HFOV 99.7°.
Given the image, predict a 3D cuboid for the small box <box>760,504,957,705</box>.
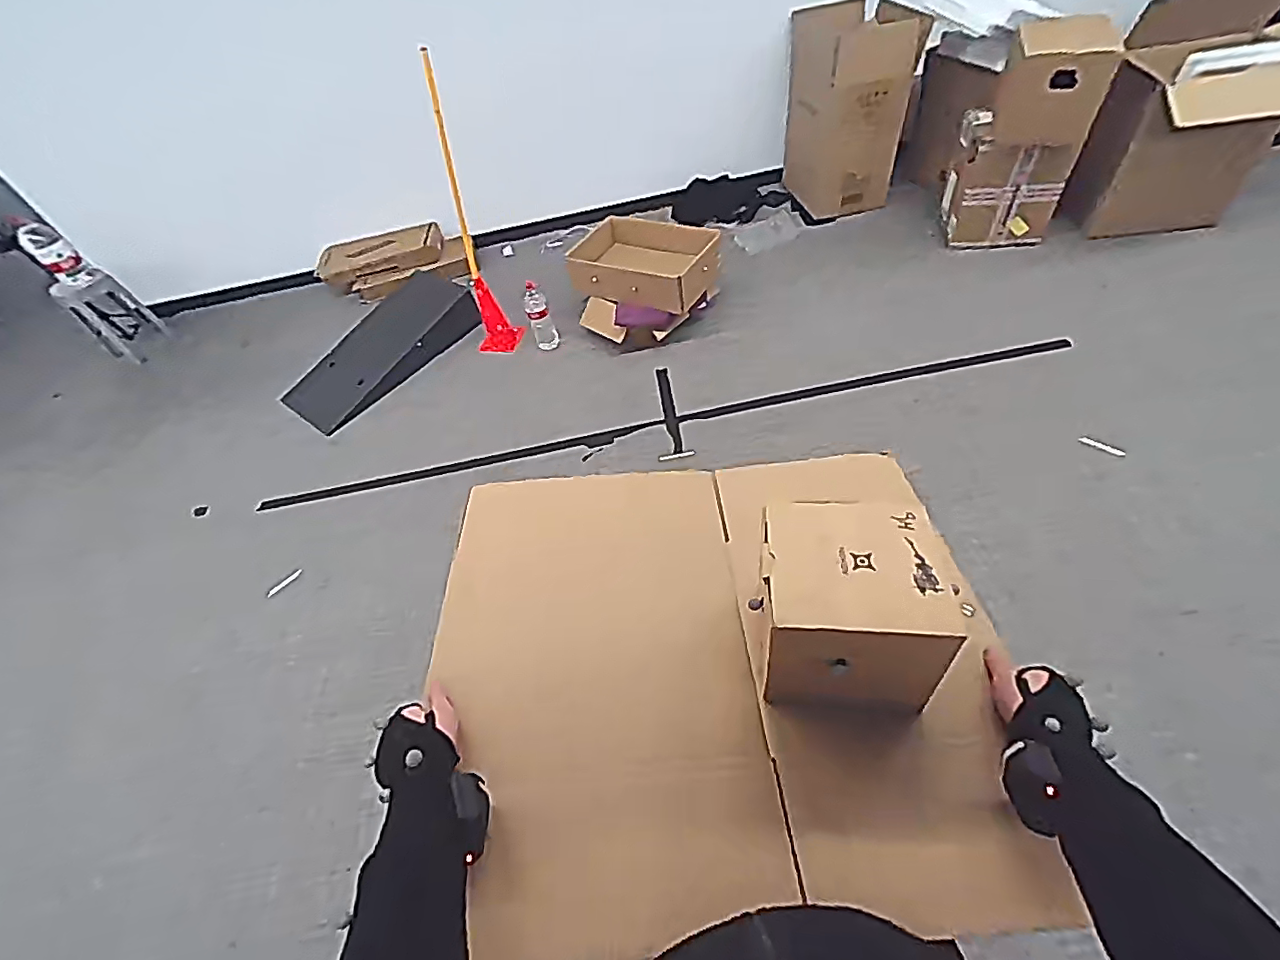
[{"bbox_3d":[0.231,0.144,0.624,0.179,0.176,0.168,-1,46,10],"label":"small box"}]
